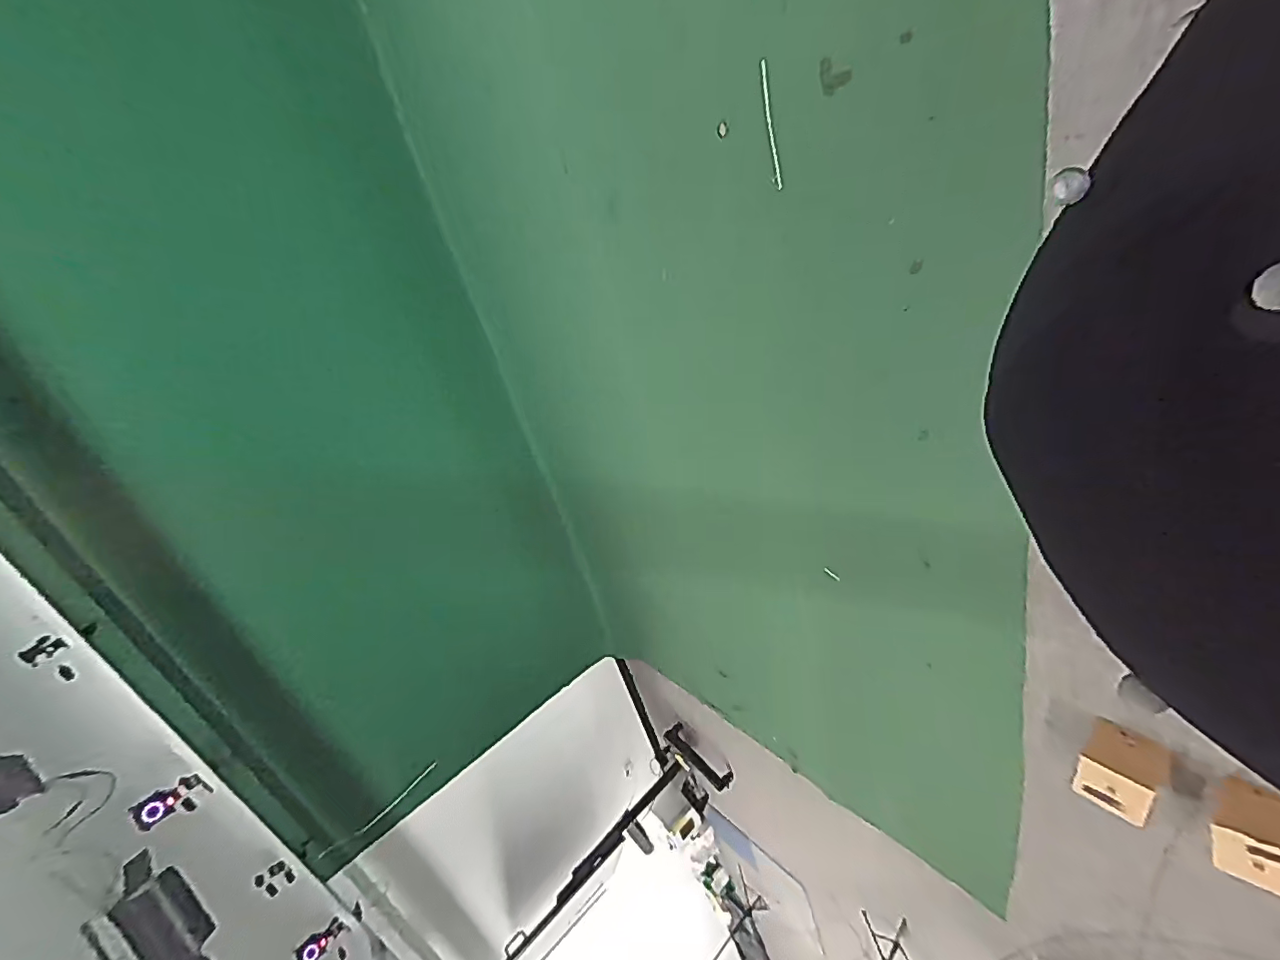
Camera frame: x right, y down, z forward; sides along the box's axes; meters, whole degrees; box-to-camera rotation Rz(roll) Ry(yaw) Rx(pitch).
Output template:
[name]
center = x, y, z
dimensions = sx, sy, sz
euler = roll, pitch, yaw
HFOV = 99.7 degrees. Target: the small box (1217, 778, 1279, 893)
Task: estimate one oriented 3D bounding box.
[small box]
center = 1.584, 0.898, 1.357
dimensions = 0.168, 0.176, 0.179
euler = 6, 124, 56
